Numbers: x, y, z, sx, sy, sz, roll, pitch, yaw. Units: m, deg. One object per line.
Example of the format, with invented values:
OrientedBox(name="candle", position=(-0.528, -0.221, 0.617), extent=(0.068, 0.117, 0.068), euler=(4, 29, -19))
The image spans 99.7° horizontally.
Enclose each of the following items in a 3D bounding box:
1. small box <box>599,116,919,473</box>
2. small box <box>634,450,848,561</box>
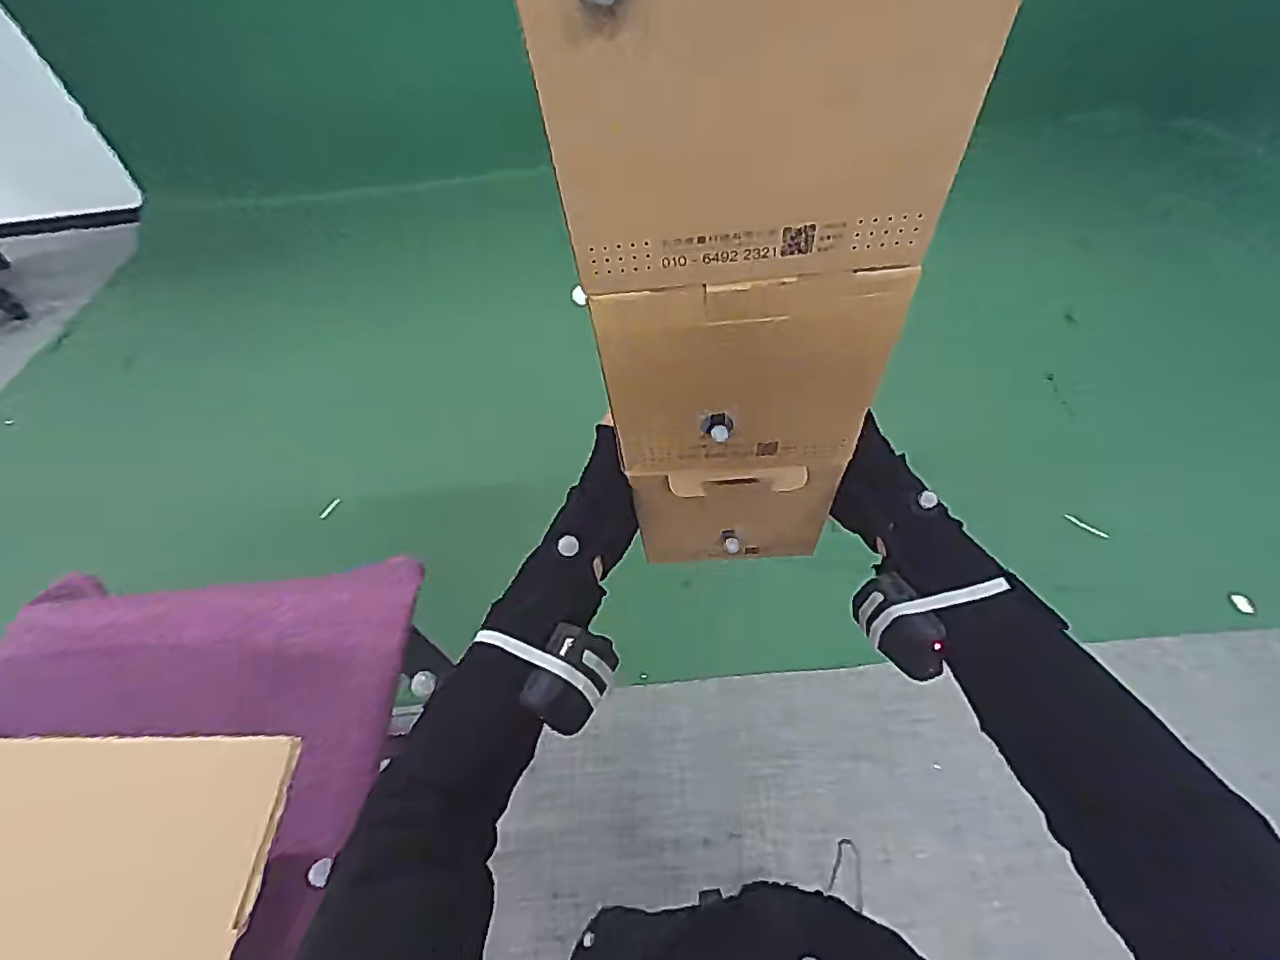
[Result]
OrientedBox(name="small box", position=(0.066, -0.124, 0.388), extent=(0.168, 0.176, 0.179), euler=(-3, 57, 5))
OrientedBox(name="small box", position=(0.085, -0.036, 0.524), extent=(0.168, 0.176, 0.179), euler=(-3, 57, 5))
